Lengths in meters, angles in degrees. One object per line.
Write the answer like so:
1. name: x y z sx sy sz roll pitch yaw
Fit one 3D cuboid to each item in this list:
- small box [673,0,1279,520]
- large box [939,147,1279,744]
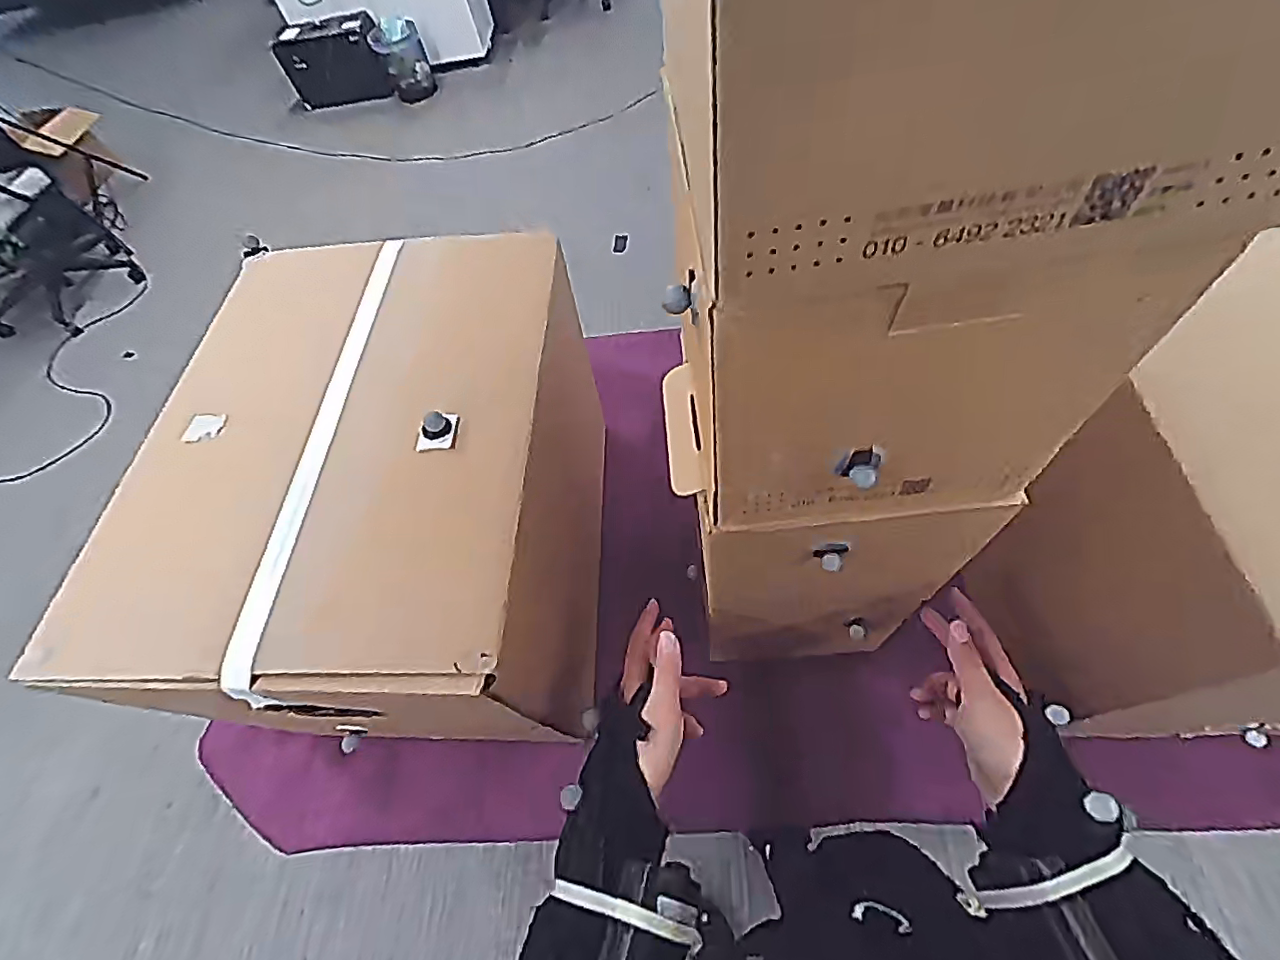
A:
1. small box: 0.108 -0.100 0.269 0.168 0.176 0.179 -7 59 4
2. large box: 0.479 -0.013 0.463 0.320 0.320 0.408 -3 58 6
